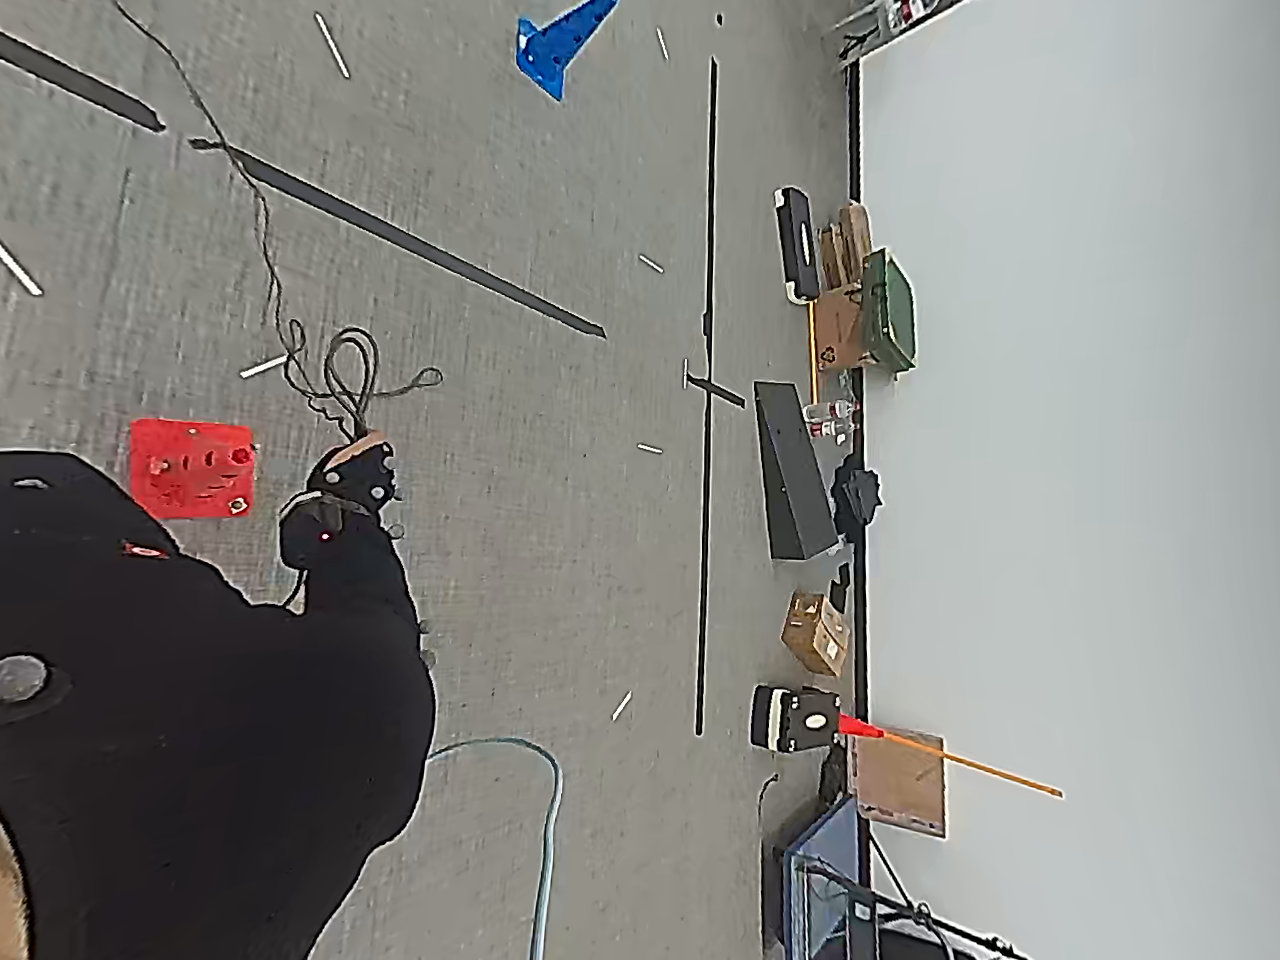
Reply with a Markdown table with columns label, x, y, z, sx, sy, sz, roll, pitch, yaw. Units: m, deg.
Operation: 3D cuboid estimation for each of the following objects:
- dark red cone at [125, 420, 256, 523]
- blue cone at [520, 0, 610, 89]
| label | x | y | z | sx | sy | sz | roll | pitch | yaw |
| --- | --- | --- | --- | --- | --- | --- | --- | --- | --- |
| dark red cone | -0.768 | -0.029 | 0.974 | 0.202 | 0.394 | 0.201 | 0 | 86 | -49 |
| blue cone | -0.216 | -1.497 | 1.773 | 0.193 | 0.380 | 0.192 | 13 | 76 | -48 |
